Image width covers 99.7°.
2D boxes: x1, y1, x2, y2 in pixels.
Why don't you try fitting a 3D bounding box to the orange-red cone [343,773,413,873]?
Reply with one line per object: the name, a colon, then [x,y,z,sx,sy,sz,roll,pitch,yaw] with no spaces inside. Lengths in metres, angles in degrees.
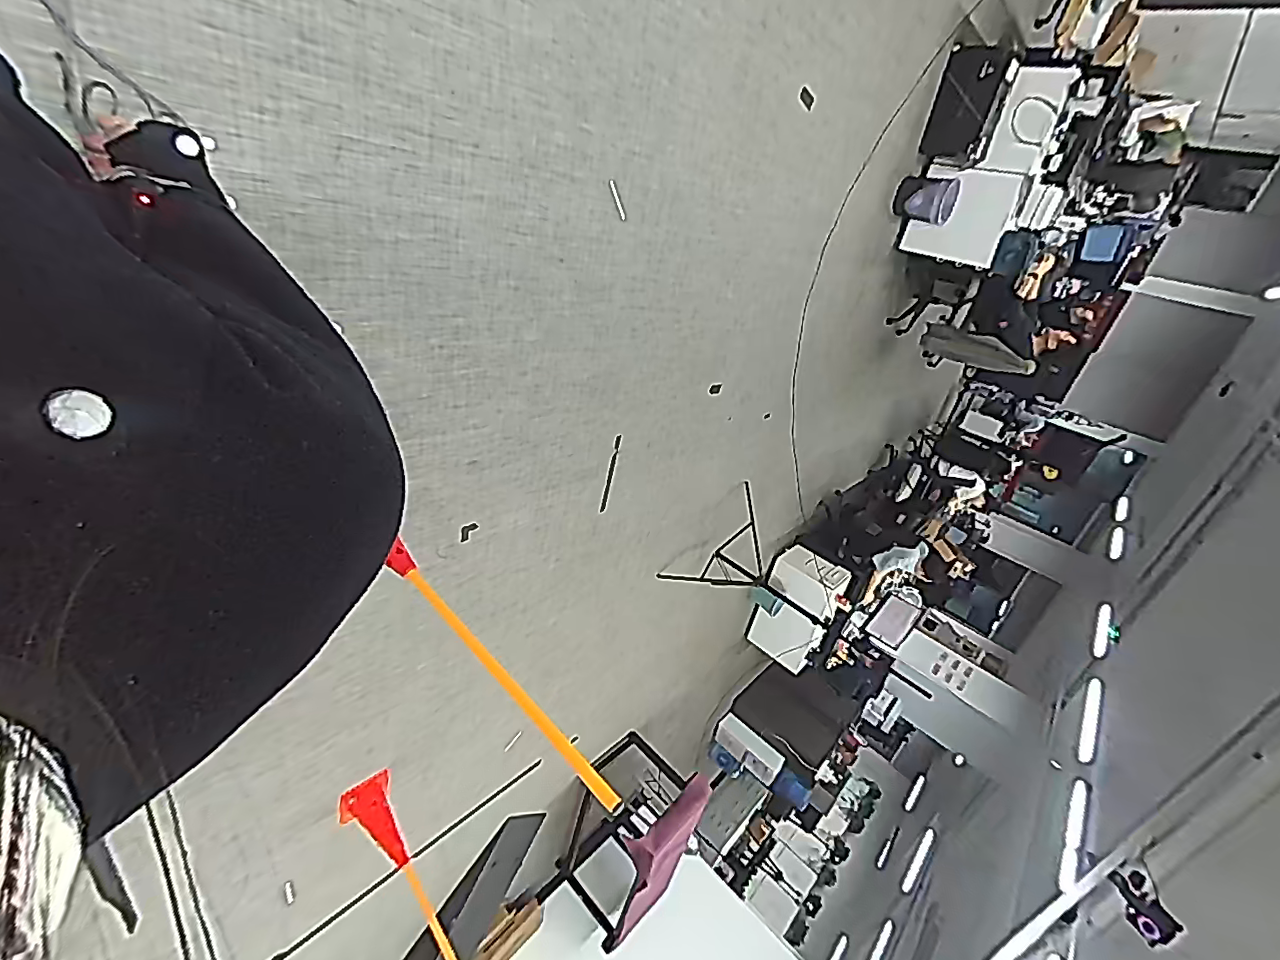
orange-red cone: [-1.002,1.397,2.143,0.198,0.360,0.199,-14,128,-47]
